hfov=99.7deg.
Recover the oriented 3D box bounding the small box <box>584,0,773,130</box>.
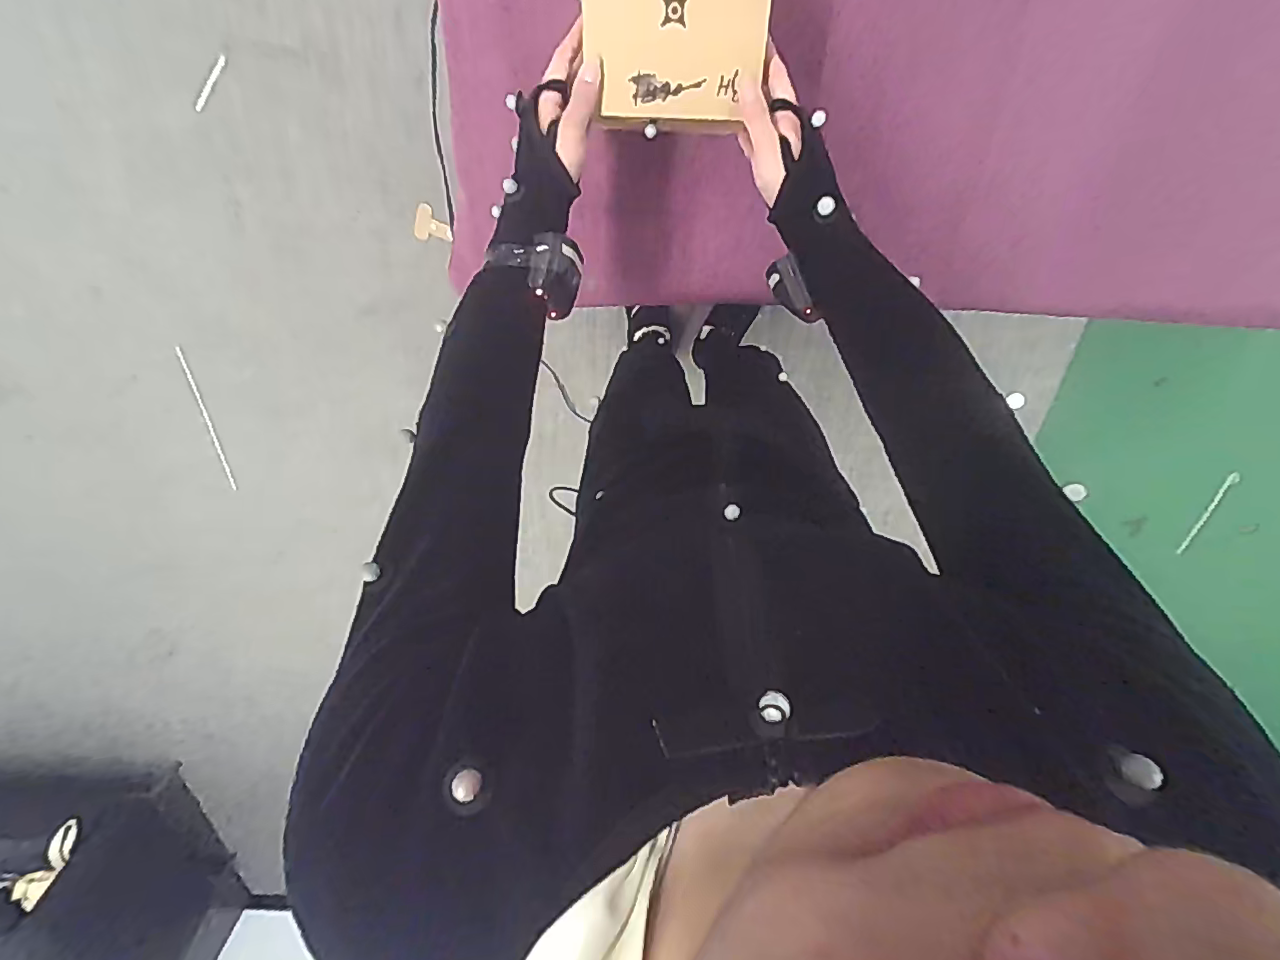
[{"bbox_3d":[0.034,-0.460,0.532,0.168,0.176,0.179,2,119,0],"label":"small box"}]

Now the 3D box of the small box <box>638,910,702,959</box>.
[{"bbox_3d":[0.082,1.360,1.536,0.168,0.176,0.179,6,120,-1],"label":"small box"}]
